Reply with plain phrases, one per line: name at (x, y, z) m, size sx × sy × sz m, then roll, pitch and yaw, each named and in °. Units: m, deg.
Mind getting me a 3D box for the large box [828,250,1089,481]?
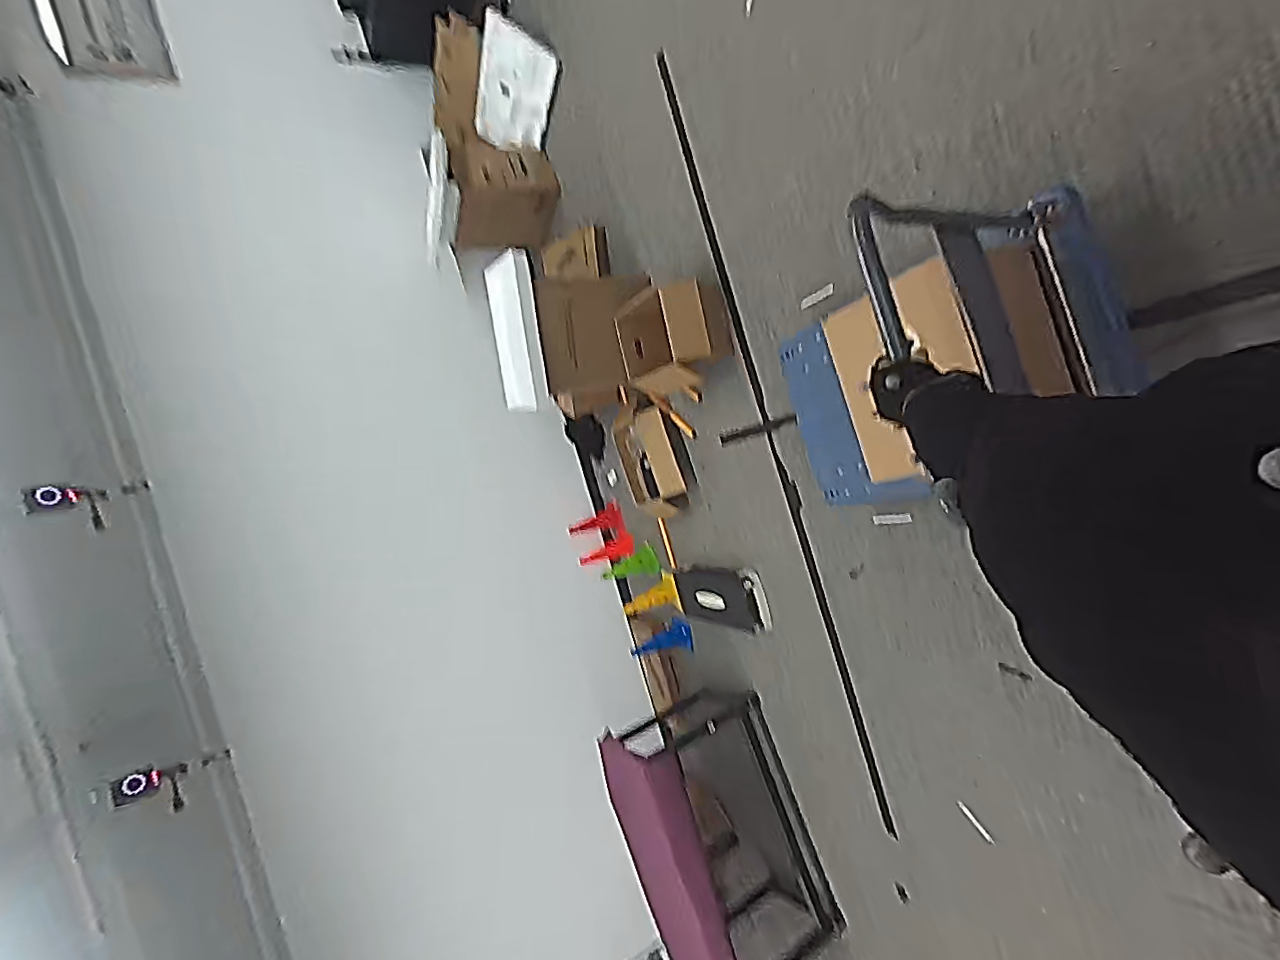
large box at (0.695, -0.244, 1.205) m, size 0.320 × 0.320 × 0.408 m, roll -21°, pitch 84°, yaw 62°
